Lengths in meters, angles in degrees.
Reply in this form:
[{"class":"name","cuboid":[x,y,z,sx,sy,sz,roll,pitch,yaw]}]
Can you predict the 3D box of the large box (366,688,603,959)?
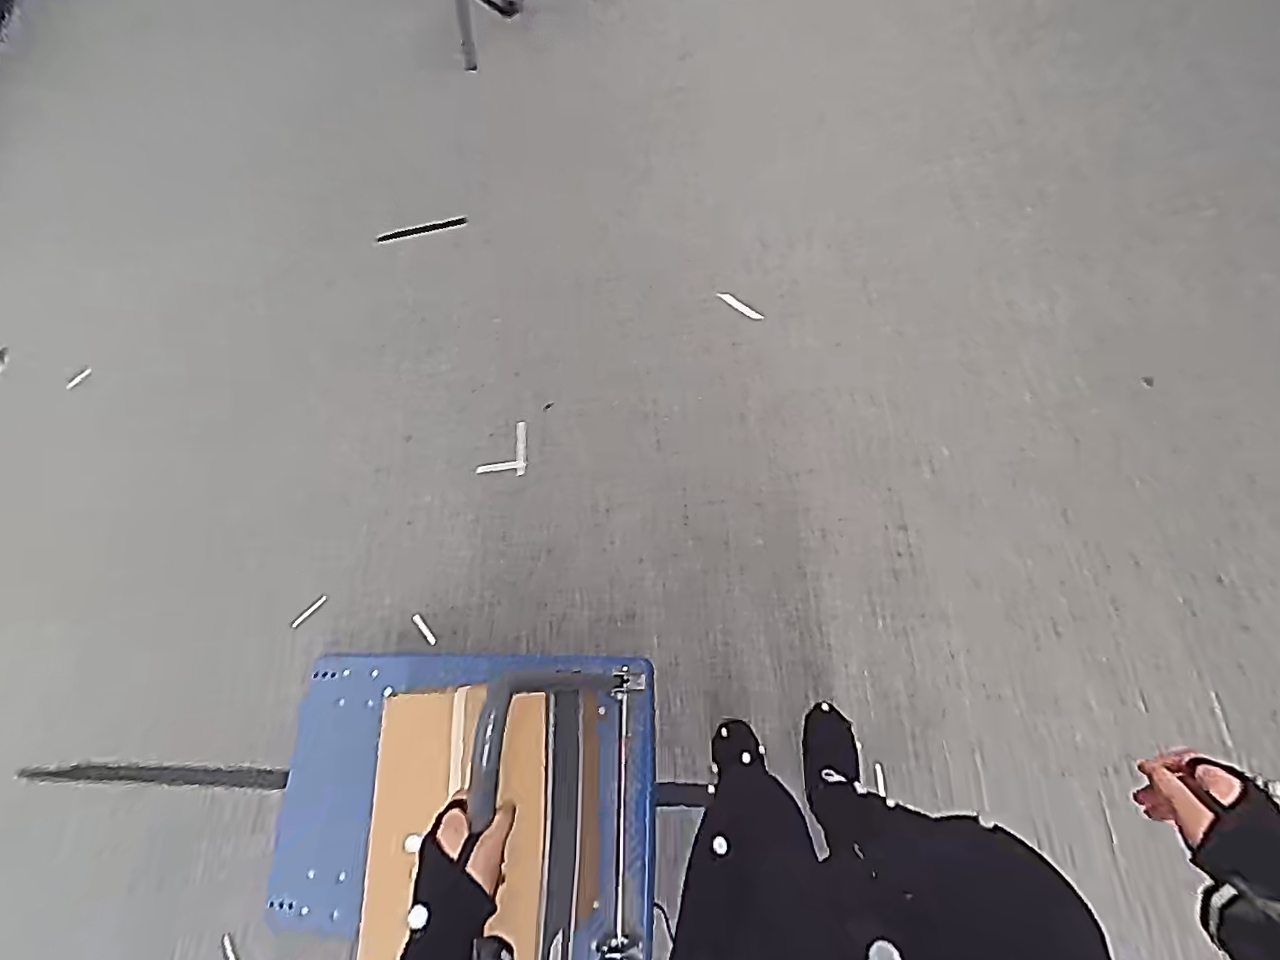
[{"class":"large box","cuboid":[-0.262,0.620,1.027,0.320,0.320,0.408,-7,68,10]}]
